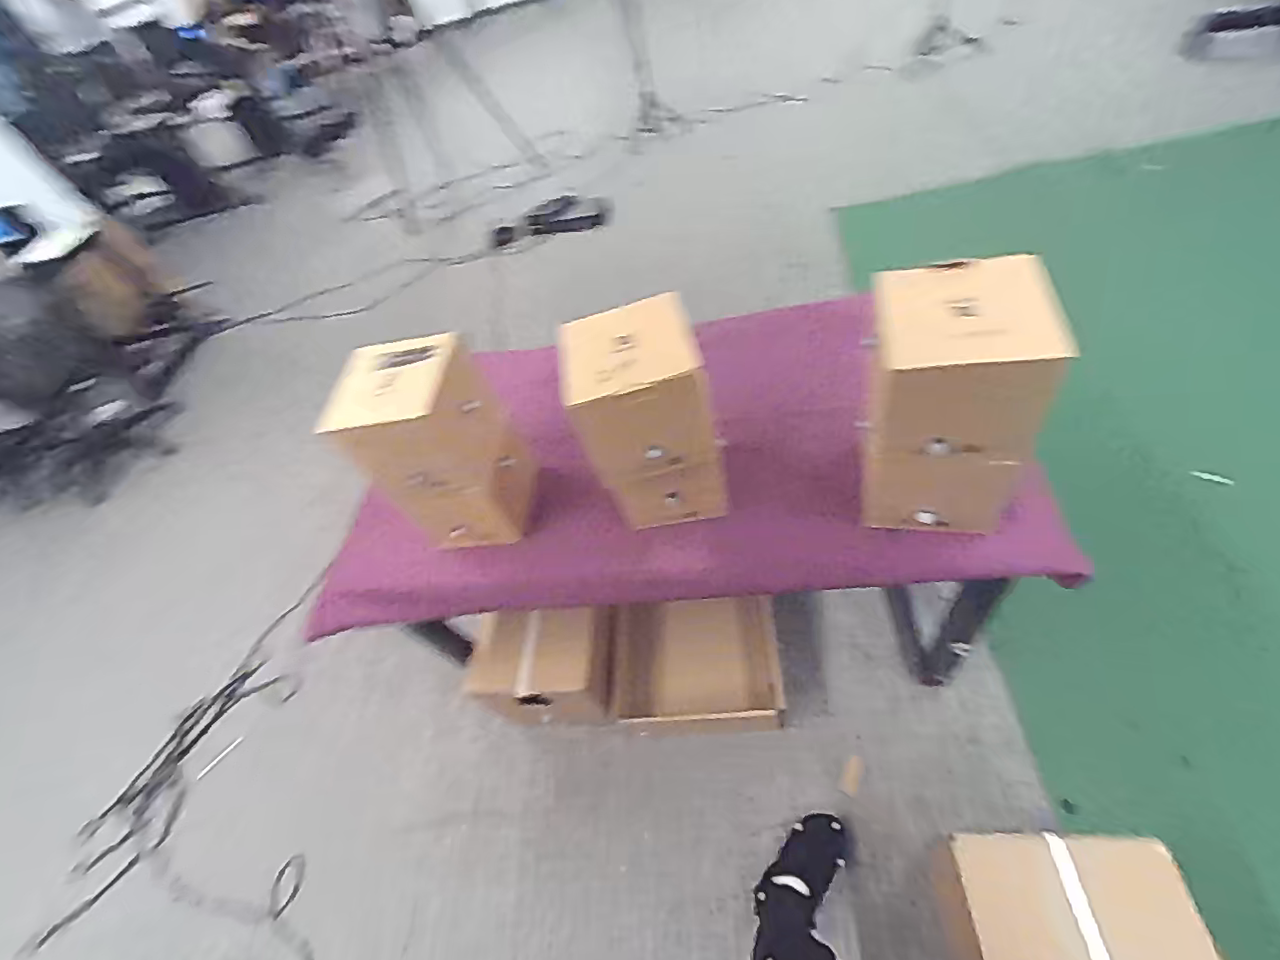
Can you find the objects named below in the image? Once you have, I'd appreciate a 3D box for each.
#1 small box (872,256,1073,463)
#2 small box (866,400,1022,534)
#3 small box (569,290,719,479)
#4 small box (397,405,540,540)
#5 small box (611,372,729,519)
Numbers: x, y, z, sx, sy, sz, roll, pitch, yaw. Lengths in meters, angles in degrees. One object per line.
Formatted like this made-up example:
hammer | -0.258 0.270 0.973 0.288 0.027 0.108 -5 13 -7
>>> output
small box | 0.379 -0.140 0.656 0.168 0.176 0.179 0 54 19
small box | 0.421 -0.044 0.780 0.168 0.176 0.179 3 55 20
small box | 0.006 -0.130 0.759 0.168 0.176 0.179 -15 50 6
small box | -0.294 -0.010 0.973 0.168 0.176 0.179 -5 53 13
small box | 0.051 -0.048 0.897 0.168 0.176 0.179 -9 51 10
